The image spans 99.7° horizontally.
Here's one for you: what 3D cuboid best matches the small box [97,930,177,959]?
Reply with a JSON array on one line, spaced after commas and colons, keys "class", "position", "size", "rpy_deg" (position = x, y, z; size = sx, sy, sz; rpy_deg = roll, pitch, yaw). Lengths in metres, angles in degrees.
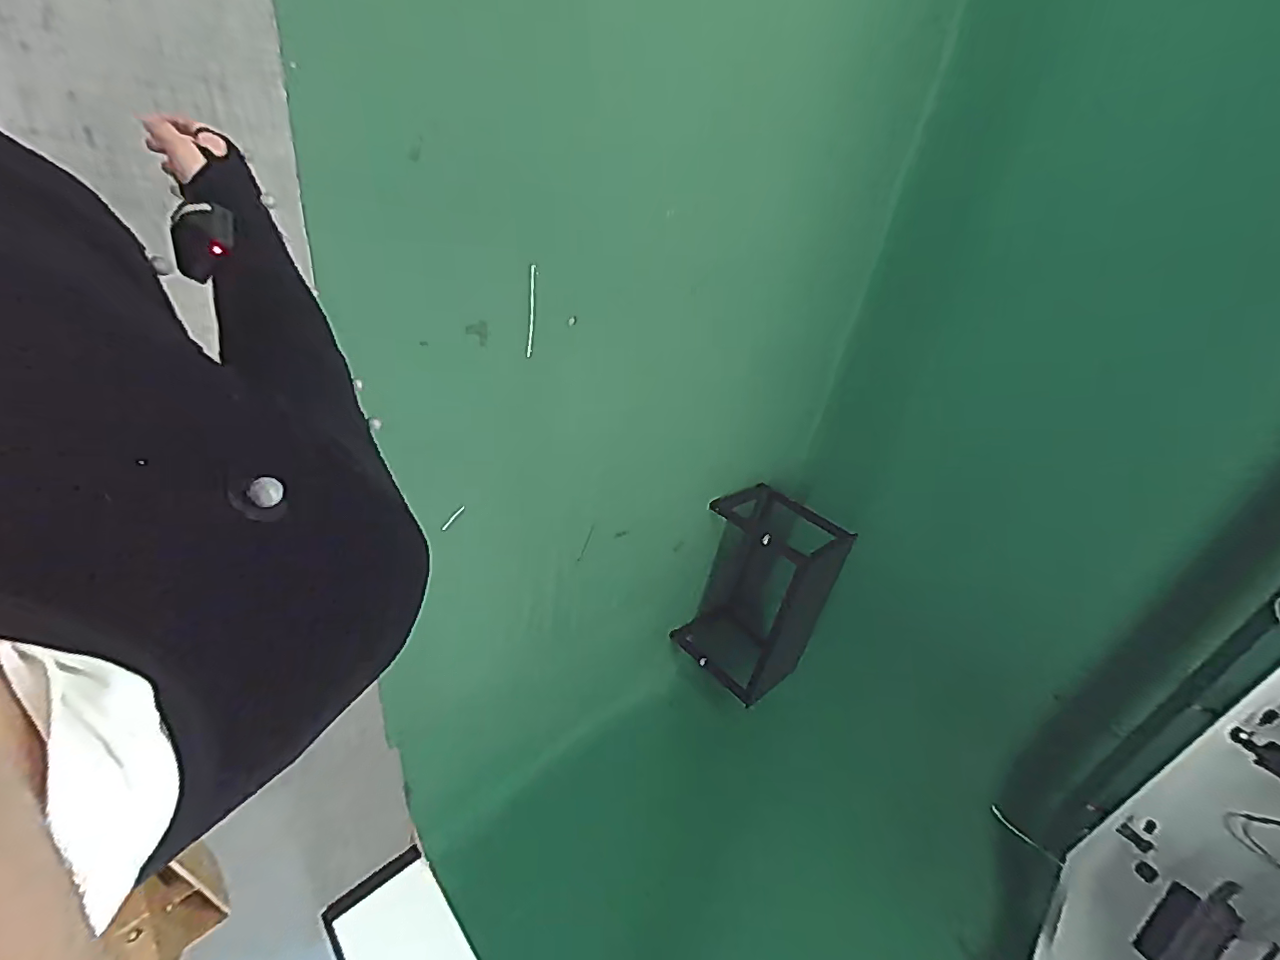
[{"class": "small box", "position": [-1.144, 1.155, 1.194], "size": [0.168, 0.176, 0.179], "rpy_deg": [-26, 136, -37]}]
